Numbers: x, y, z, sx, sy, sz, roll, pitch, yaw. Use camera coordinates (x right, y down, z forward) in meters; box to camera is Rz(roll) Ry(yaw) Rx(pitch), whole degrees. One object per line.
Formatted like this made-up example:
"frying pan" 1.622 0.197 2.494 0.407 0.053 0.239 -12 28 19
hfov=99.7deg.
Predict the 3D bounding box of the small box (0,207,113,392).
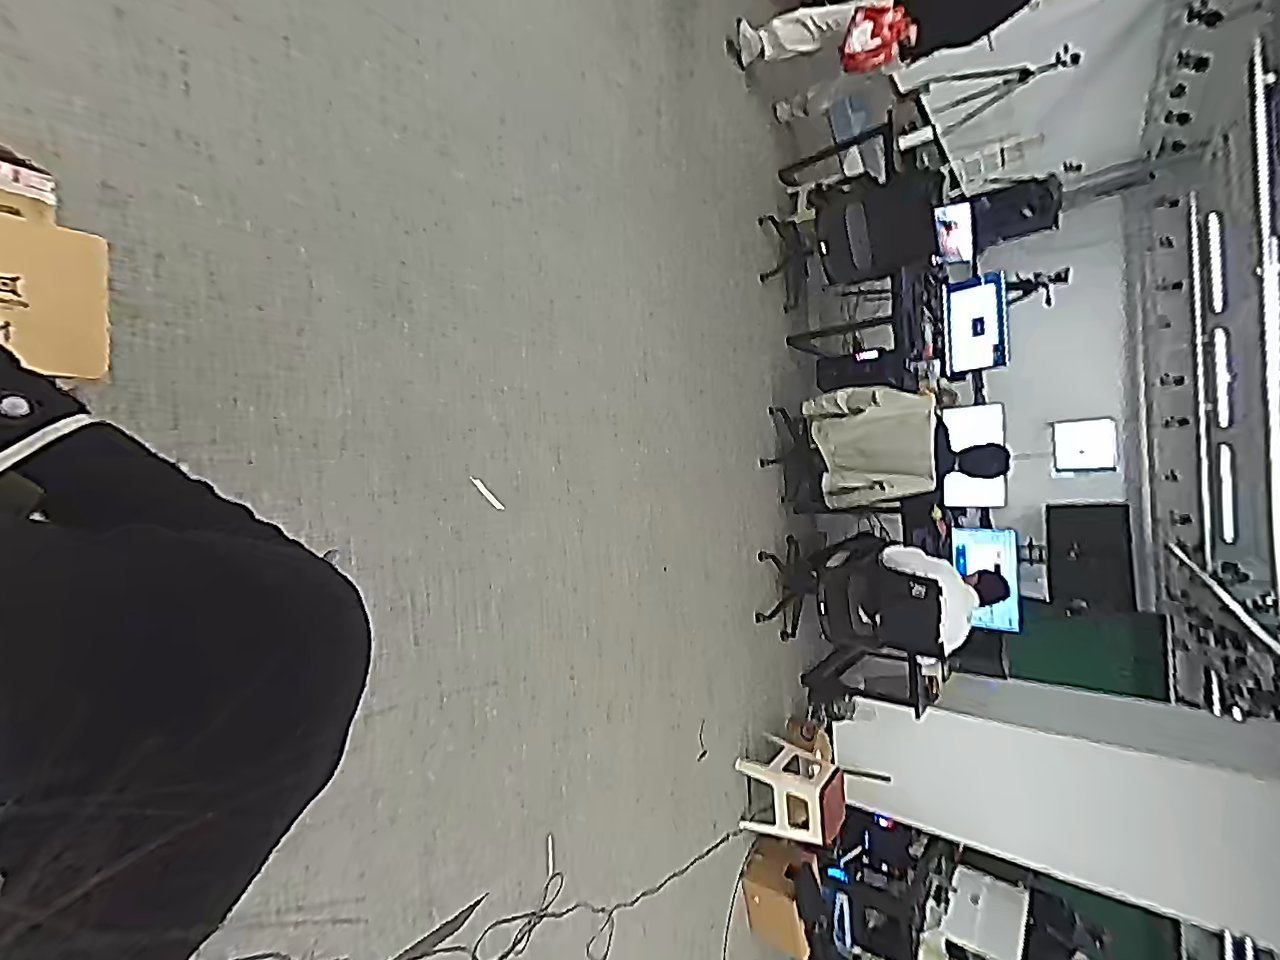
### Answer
"small box" -0.748 -0.207 0.633 0.168 0.176 0.179 -2 91 -52
